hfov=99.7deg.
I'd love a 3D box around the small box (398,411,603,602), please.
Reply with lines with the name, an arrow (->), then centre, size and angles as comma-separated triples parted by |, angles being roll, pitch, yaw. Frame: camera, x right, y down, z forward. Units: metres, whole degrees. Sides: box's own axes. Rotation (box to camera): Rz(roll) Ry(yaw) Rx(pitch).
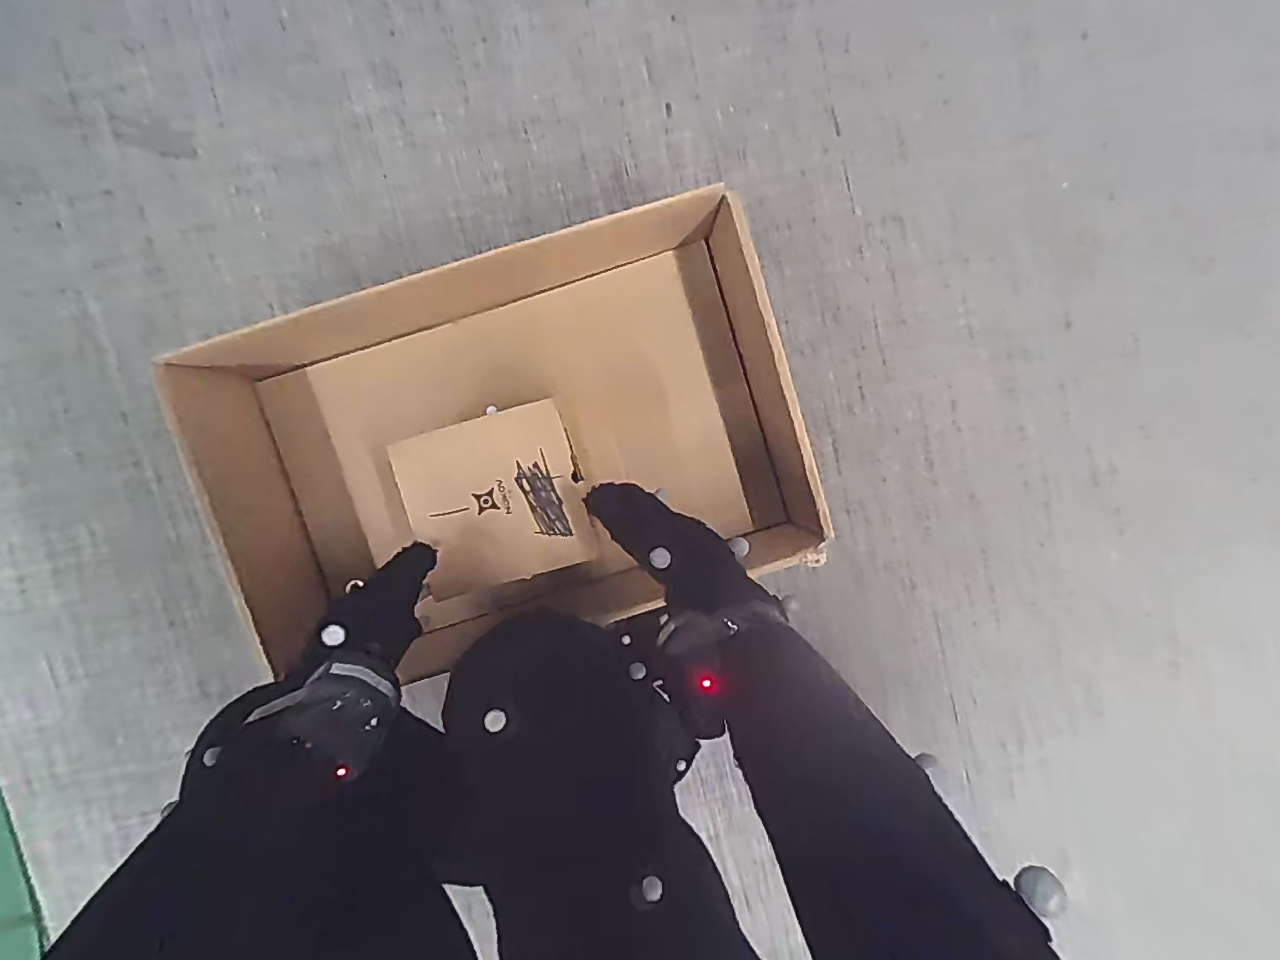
small box -> -0.144, 0.023, 0.628 | 0.179, 0.176, 0.168 | -15, 92, 0
